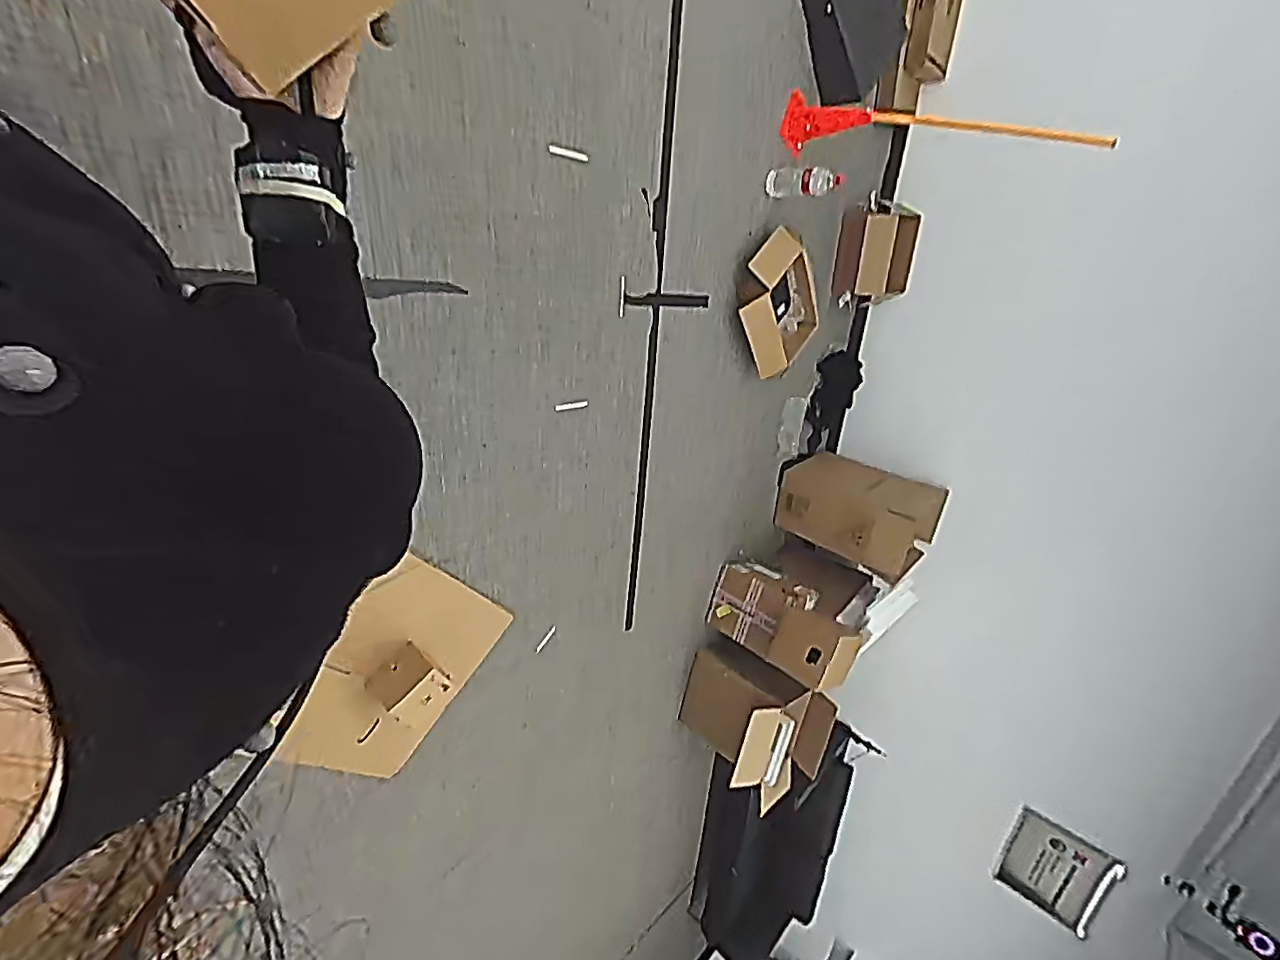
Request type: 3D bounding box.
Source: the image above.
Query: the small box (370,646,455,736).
[{"bbox_3d":[-0.744,0.679,1.753,0.179,0.176,0.168,-44,137,-22],"label":"small box"}]
